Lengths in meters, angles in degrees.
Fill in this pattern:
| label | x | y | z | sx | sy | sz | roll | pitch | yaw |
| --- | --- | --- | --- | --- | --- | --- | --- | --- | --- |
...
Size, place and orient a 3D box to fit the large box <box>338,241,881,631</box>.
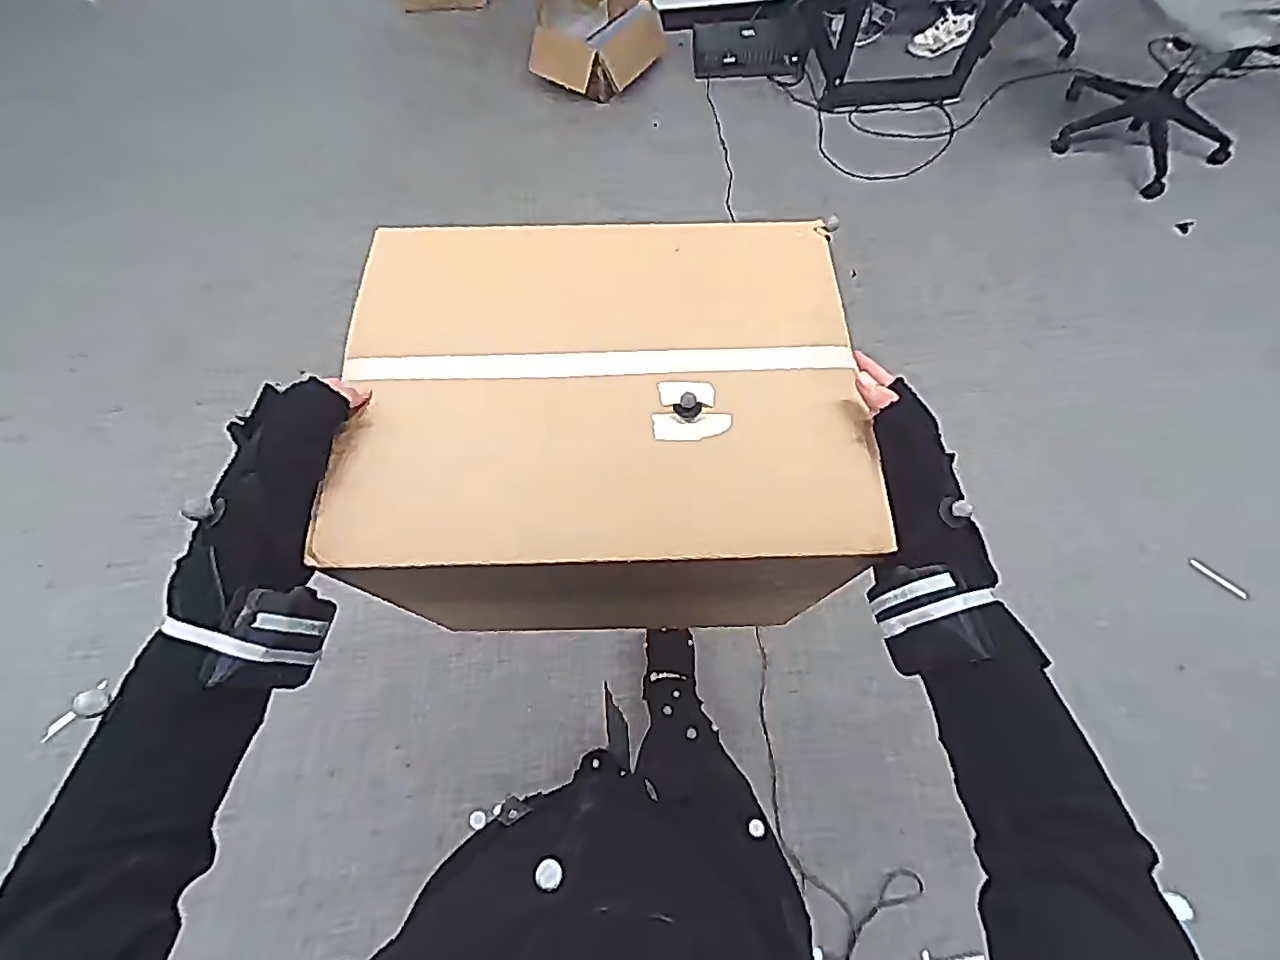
| label | x | y | z | sx | sy | sz | roll | pitch | yaw |
| --- | --- | --- | --- | --- | --- | --- | --- | --- | --- |
| large box | -0.028 | -0.024 | 0.586 | 0.408 | 0.320 | 0.320 | -1 | 66 | -1 |
